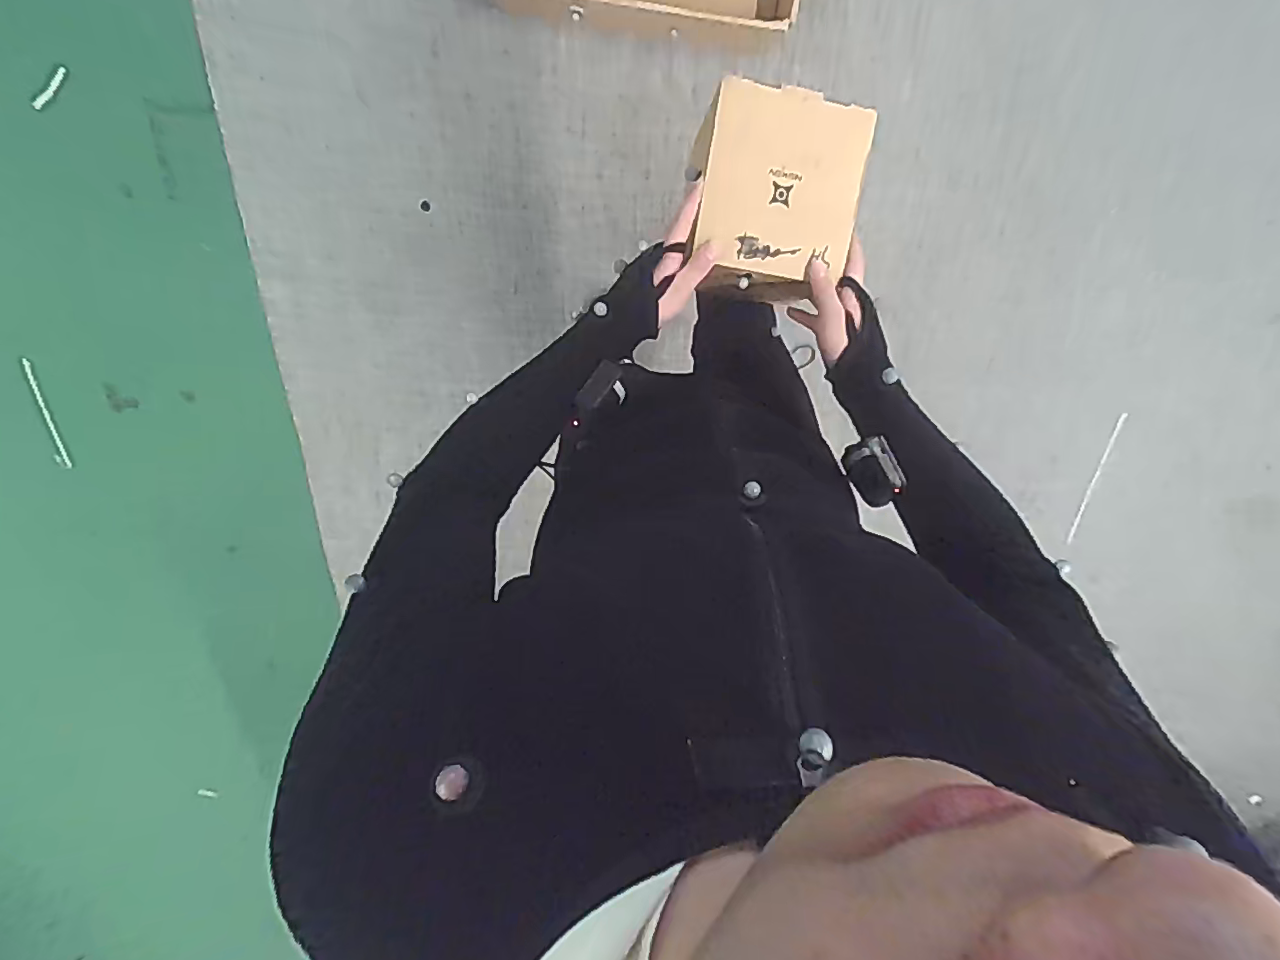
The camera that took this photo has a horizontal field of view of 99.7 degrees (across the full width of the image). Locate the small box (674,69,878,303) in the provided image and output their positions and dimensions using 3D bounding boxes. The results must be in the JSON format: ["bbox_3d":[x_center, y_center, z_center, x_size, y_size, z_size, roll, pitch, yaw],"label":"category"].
[{"bbox_3d":[0.140,-0.318,0.625,0.168,0.176,0.179,8,100,-6],"label":"small box"}]
